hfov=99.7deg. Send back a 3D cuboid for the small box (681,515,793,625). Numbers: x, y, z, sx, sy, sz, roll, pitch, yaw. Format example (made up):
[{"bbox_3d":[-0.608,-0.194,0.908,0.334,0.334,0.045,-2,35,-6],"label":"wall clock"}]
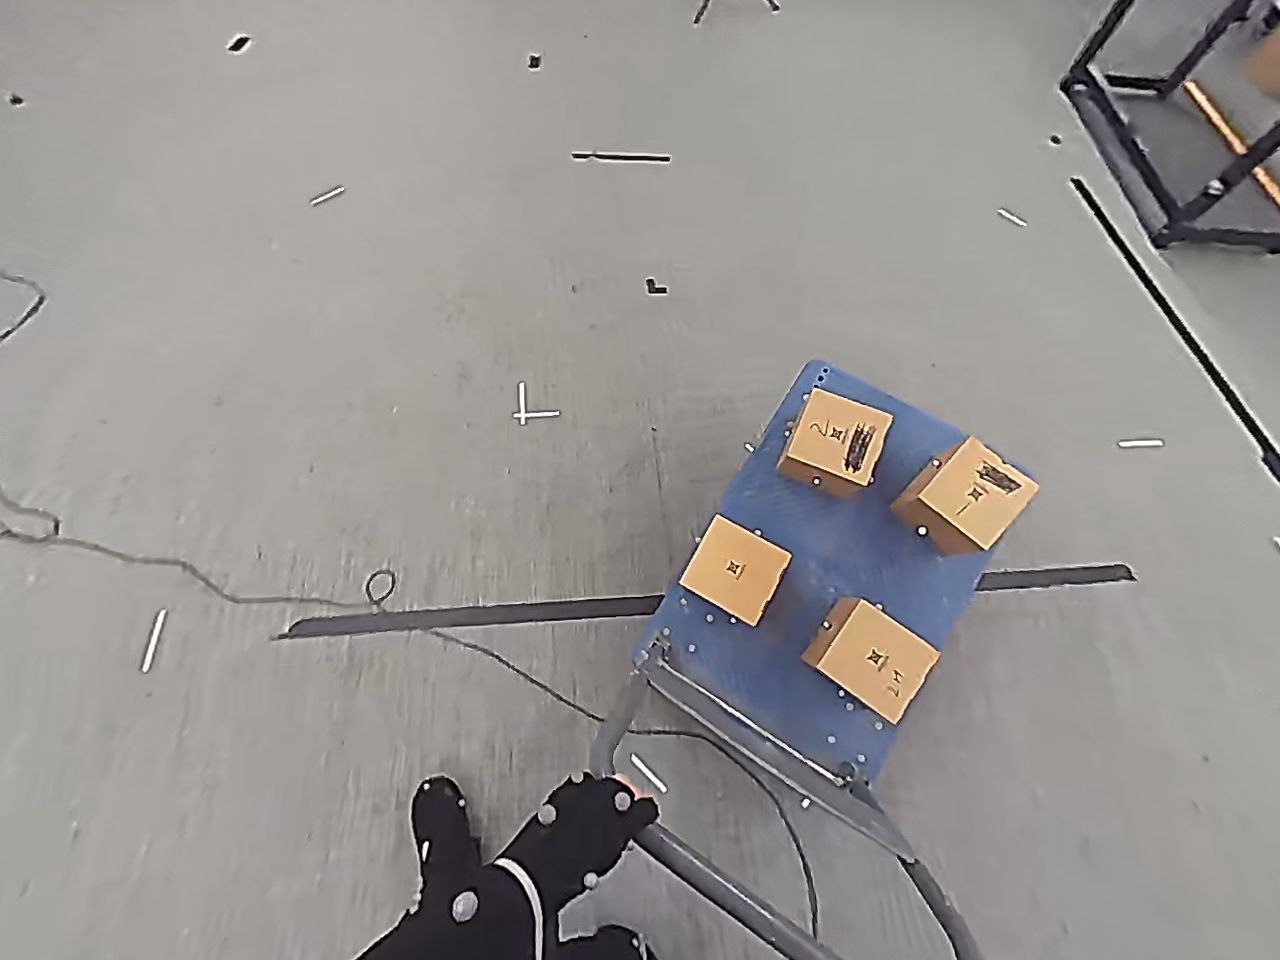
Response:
[{"bbox_3d":[0.203,0.198,1.175,0.179,0.176,0.168,29,82,9],"label":"small box"}]

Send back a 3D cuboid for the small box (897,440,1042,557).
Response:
[{"bbox_3d":[0.691,0.047,1.159,0.168,0.176,0.179,43,86,12],"label":"small box"}]

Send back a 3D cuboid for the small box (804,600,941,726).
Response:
[{"bbox_3d":[0.464,0.367,1.112,0.179,0.176,0.168,36,84,12],"label":"small box"}]
